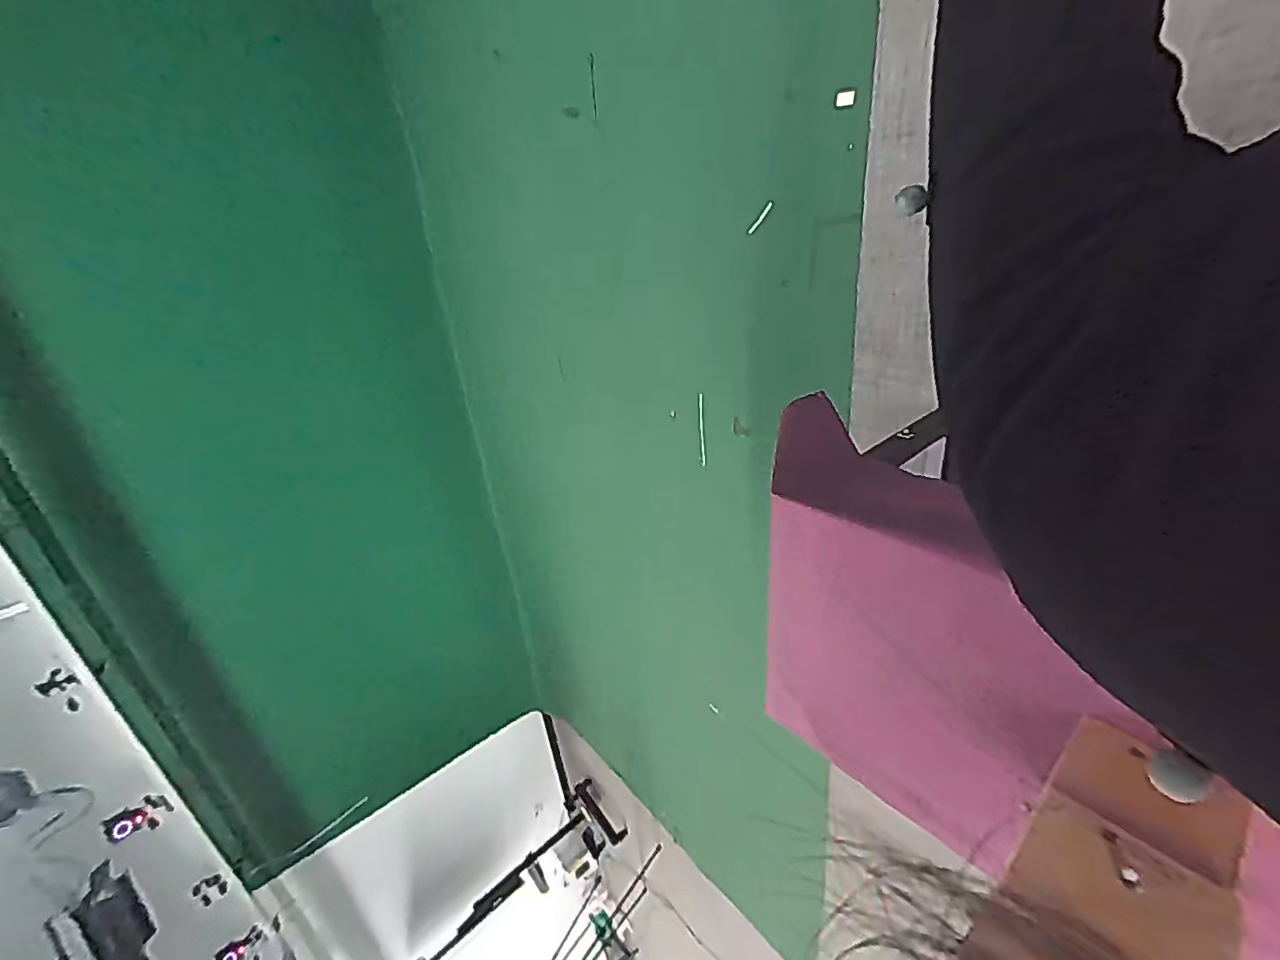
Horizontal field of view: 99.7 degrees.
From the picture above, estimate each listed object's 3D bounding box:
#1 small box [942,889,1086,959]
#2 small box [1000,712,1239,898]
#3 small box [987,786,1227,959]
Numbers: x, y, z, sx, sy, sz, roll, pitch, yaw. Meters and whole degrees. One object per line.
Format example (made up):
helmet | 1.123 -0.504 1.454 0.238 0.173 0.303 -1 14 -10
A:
small box | 0.346 0.528 0.484 0.168 0.176 0.179 27 131 43
small box | 0.596 0.439 0.679 0.168 0.176 0.179 28 130 42
small box | 0.474 0.482 0.577 0.168 0.176 0.179 26 129 43
